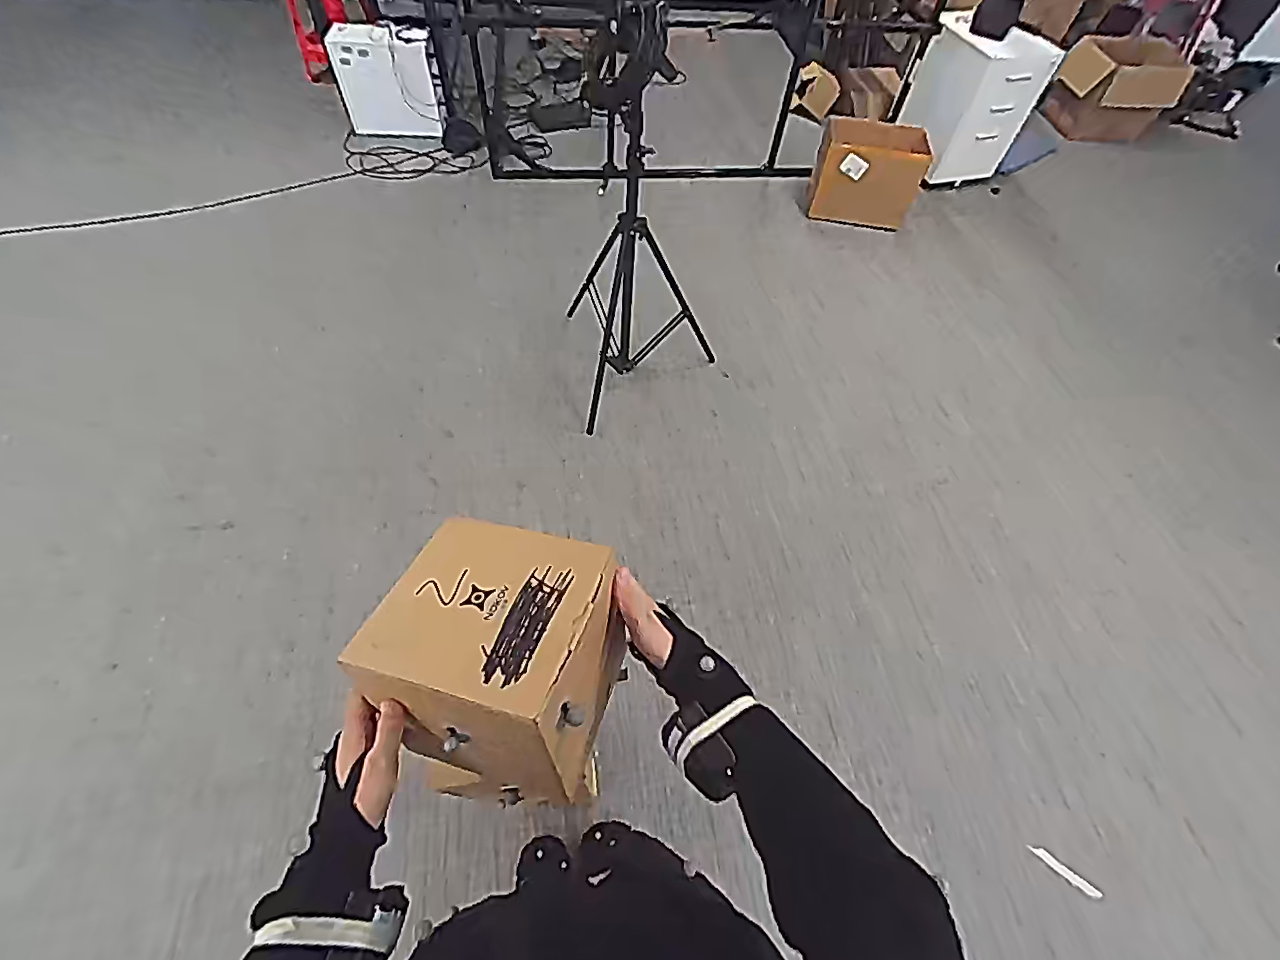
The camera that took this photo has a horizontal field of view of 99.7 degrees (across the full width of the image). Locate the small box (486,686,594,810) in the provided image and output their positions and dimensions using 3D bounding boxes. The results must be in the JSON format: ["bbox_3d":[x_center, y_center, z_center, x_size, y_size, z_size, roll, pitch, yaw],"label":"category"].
[{"bbox_3d":[-0.169,0.472,0.953,0.168,0.176,0.179,-3,58,-5],"label":"small box"}]

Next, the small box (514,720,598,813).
[{"bbox_3d":[-0.188,0.650,1.227,0.179,0.176,0.168,-4,57,-6],"label":"small box"}]

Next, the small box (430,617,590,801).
[{"bbox_3d":[-0.153,0.292,0.681,0.168,0.176,0.179,-6,58,-6],"label":"small box"}]
